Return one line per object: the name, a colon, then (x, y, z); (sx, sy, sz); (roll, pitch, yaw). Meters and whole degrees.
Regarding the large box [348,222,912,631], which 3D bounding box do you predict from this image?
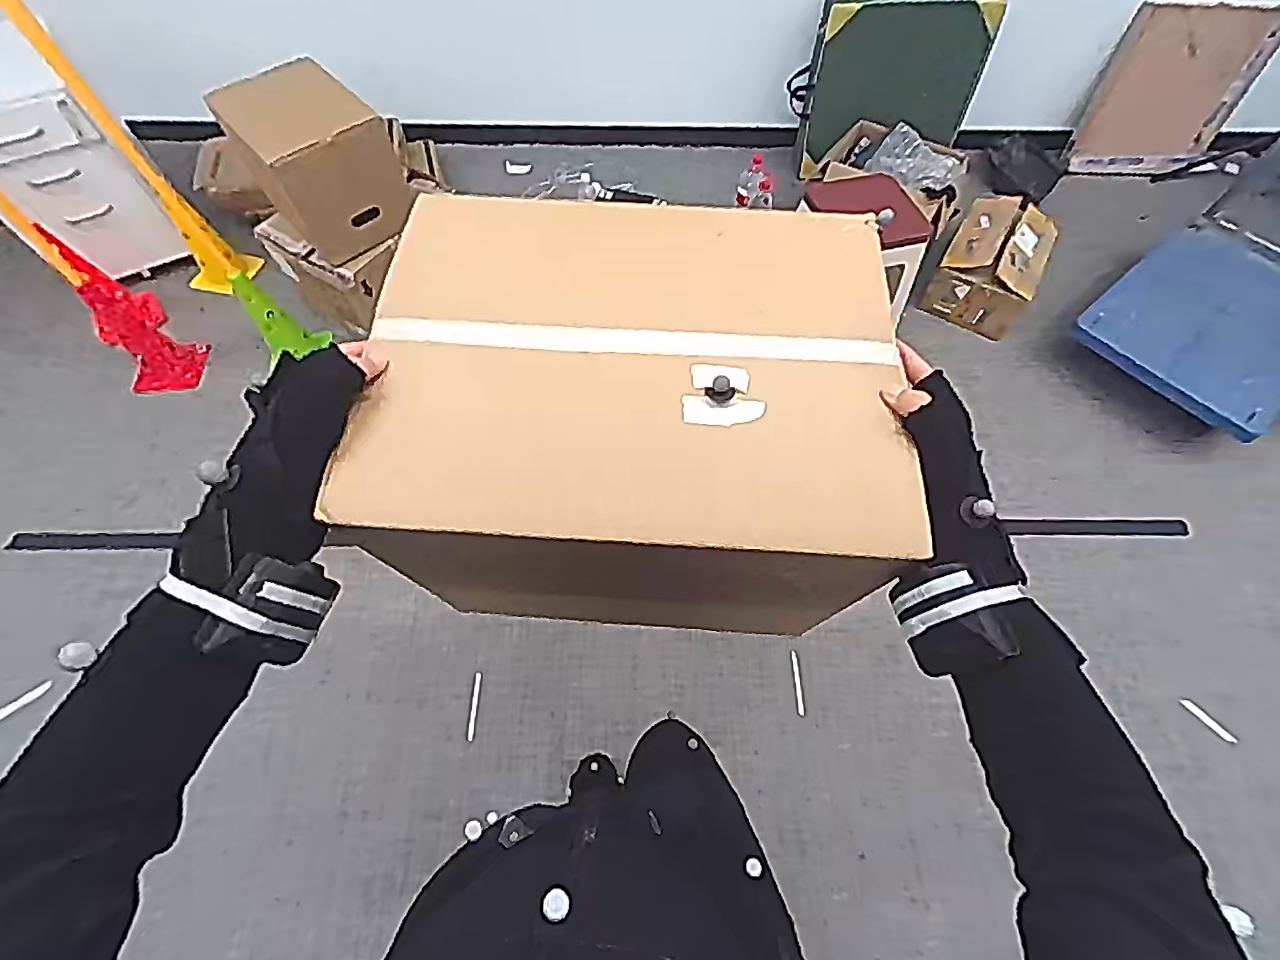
large box: (-0.003, -0.032, 0.572); (0.408, 0.320, 0.320); (4, 65, 1)
